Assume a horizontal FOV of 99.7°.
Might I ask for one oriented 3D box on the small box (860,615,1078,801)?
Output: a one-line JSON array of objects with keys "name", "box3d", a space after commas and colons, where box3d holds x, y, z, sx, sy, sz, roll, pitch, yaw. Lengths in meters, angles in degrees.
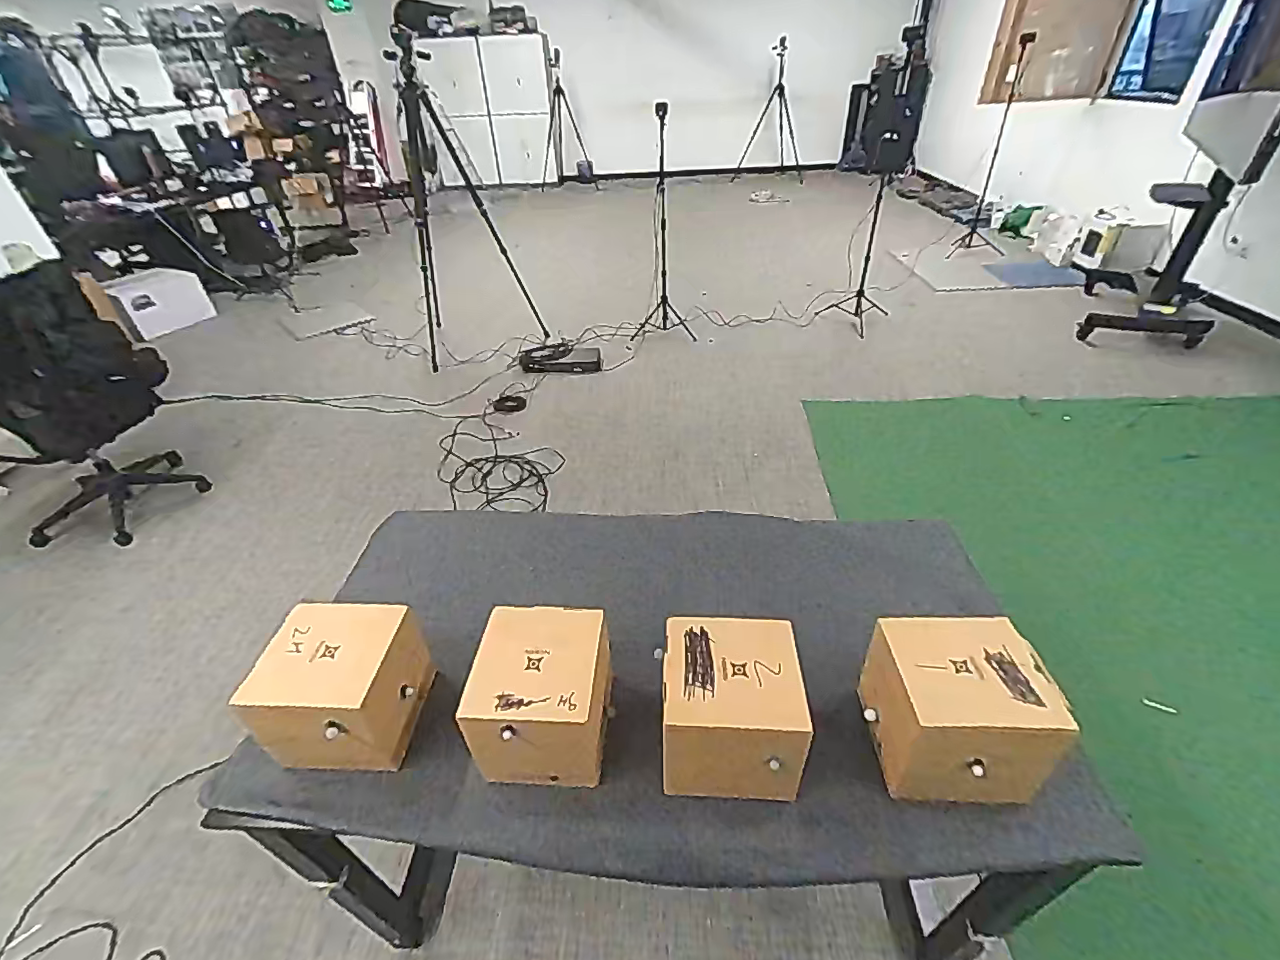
[{"name": "small box", "box3d": [0.412, 0.300, 0.716, 0.179, 0.176, 0.168, -1, 34, 6]}]
